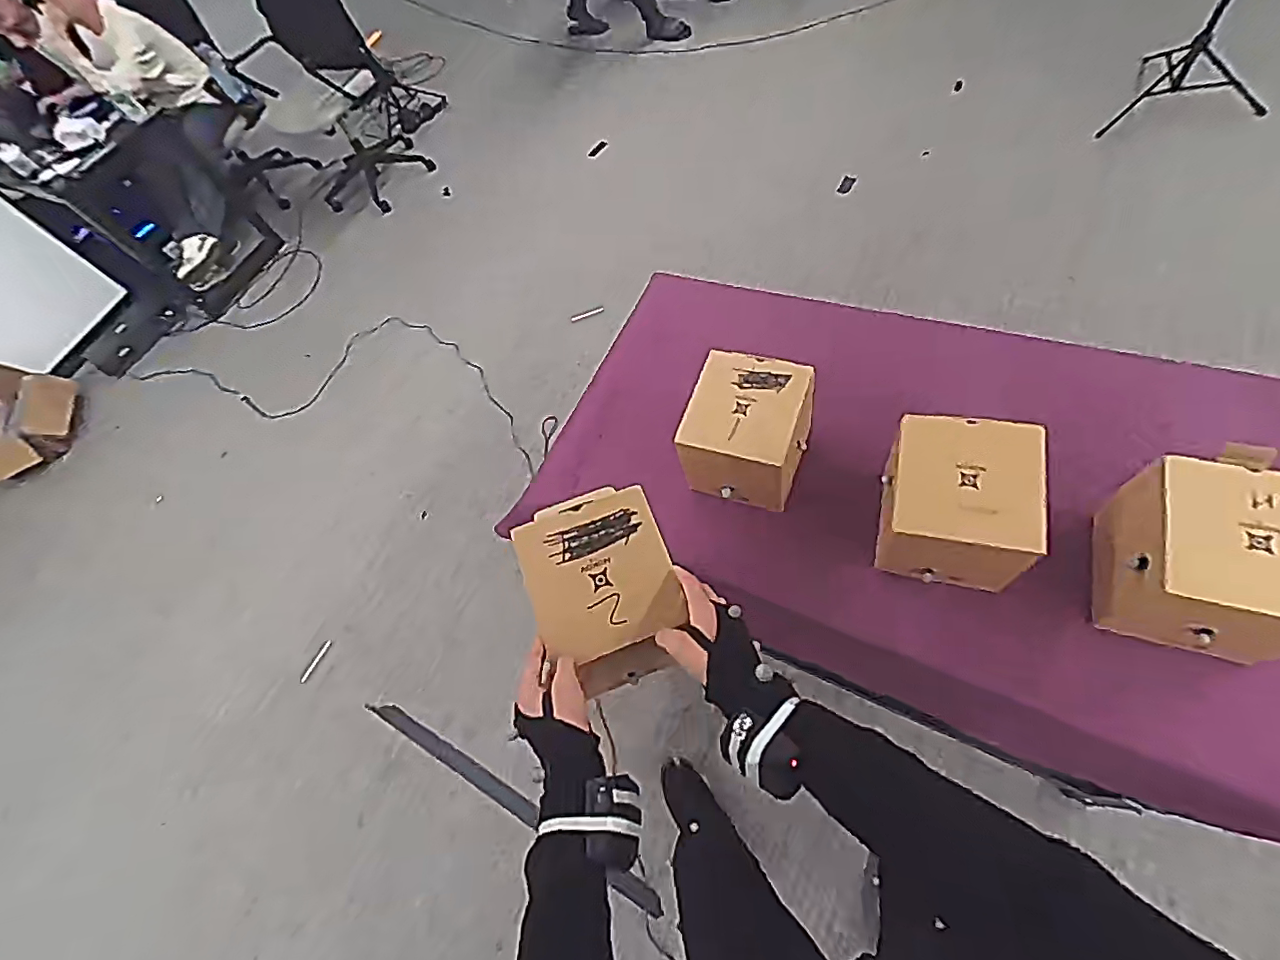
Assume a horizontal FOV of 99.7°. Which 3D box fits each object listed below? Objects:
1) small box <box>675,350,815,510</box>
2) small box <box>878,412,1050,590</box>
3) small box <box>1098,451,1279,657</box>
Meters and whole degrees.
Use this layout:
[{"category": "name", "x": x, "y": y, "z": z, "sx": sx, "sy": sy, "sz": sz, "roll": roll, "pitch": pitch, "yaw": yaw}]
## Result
[{"category": "small box", "x": 0.172, "y": -0.077, "z": 0.865, "sx": 0.168, "sy": 0.176, "sz": 0.179, "roll": 15, "pitch": 69, "yaw": 22}, {"category": "small box", "x": 0.430, "y": 0.031, "z": 0.740, "sx": 0.168, "sy": 0.176, "sz": 0.179, "roll": 8, "pitch": 65, "yaw": 20}, {"category": "small box", "x": 0.680, "y": 0.093, "z": 0.638, "sx": 0.168, "sy": 0.176, "sz": 0.179, "roll": 12, "pitch": 67, "yaw": 21}]
